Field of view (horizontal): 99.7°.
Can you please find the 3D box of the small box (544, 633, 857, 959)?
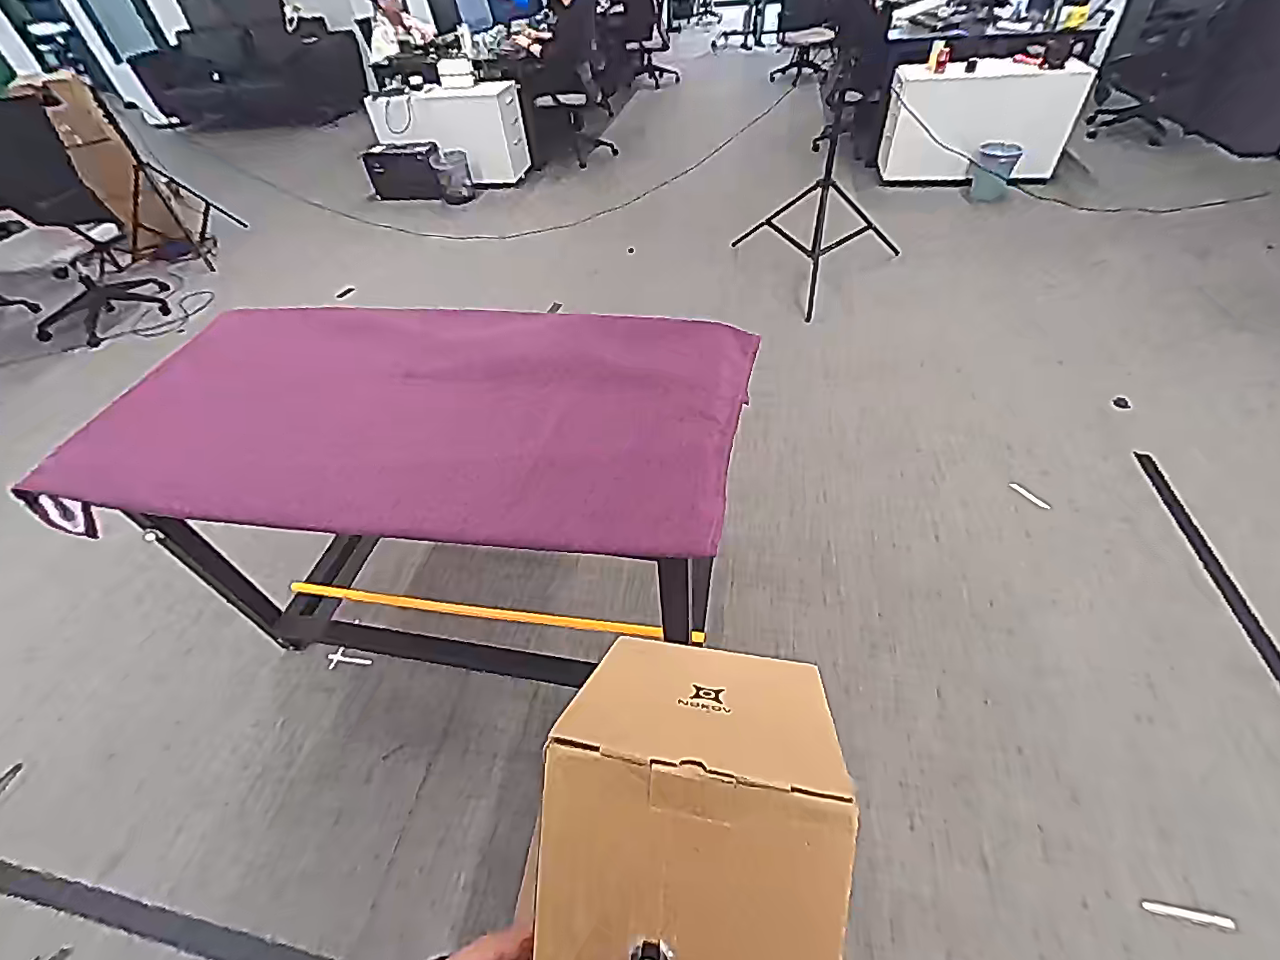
[{"bbox_3d":[0.039,0.225,0.368,0.168,0.176,0.179,5,5,12],"label":"small box"}]
